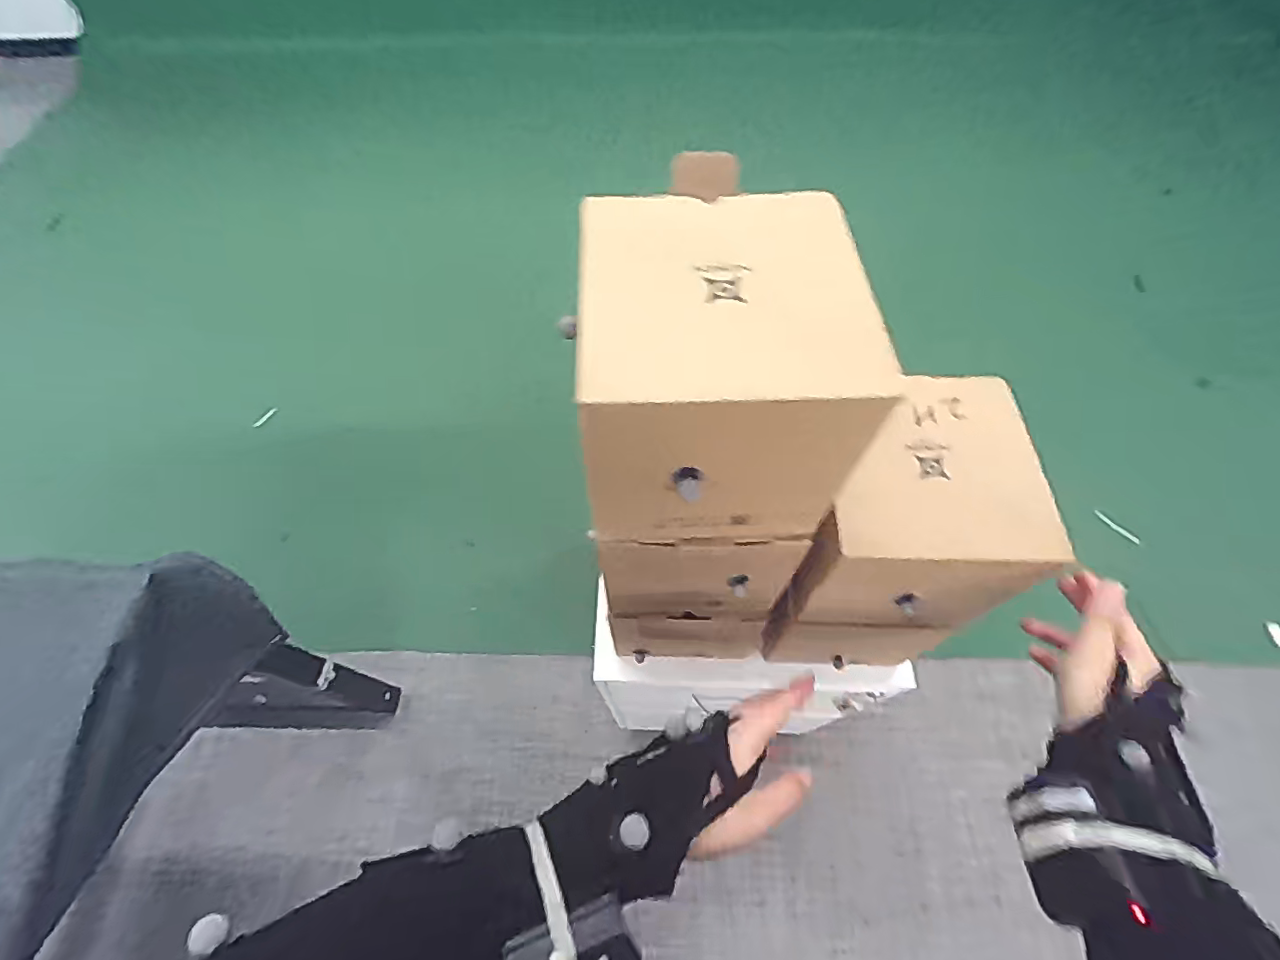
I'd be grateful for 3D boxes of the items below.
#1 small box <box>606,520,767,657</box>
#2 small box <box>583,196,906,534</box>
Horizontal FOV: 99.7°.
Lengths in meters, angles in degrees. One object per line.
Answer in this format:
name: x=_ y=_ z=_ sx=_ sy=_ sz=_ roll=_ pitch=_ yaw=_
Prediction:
small box: x=0.052 y=0.108 z=0.653 sx=0.168 sy=0.176 sz=0.179 roll=2 pitch=58 yaw=1
small box: x=0.051 y=-0.069 z=0.380 sx=0.168 sy=0.176 sz=0.179 roll=-1 pitch=59 yaw=-2
